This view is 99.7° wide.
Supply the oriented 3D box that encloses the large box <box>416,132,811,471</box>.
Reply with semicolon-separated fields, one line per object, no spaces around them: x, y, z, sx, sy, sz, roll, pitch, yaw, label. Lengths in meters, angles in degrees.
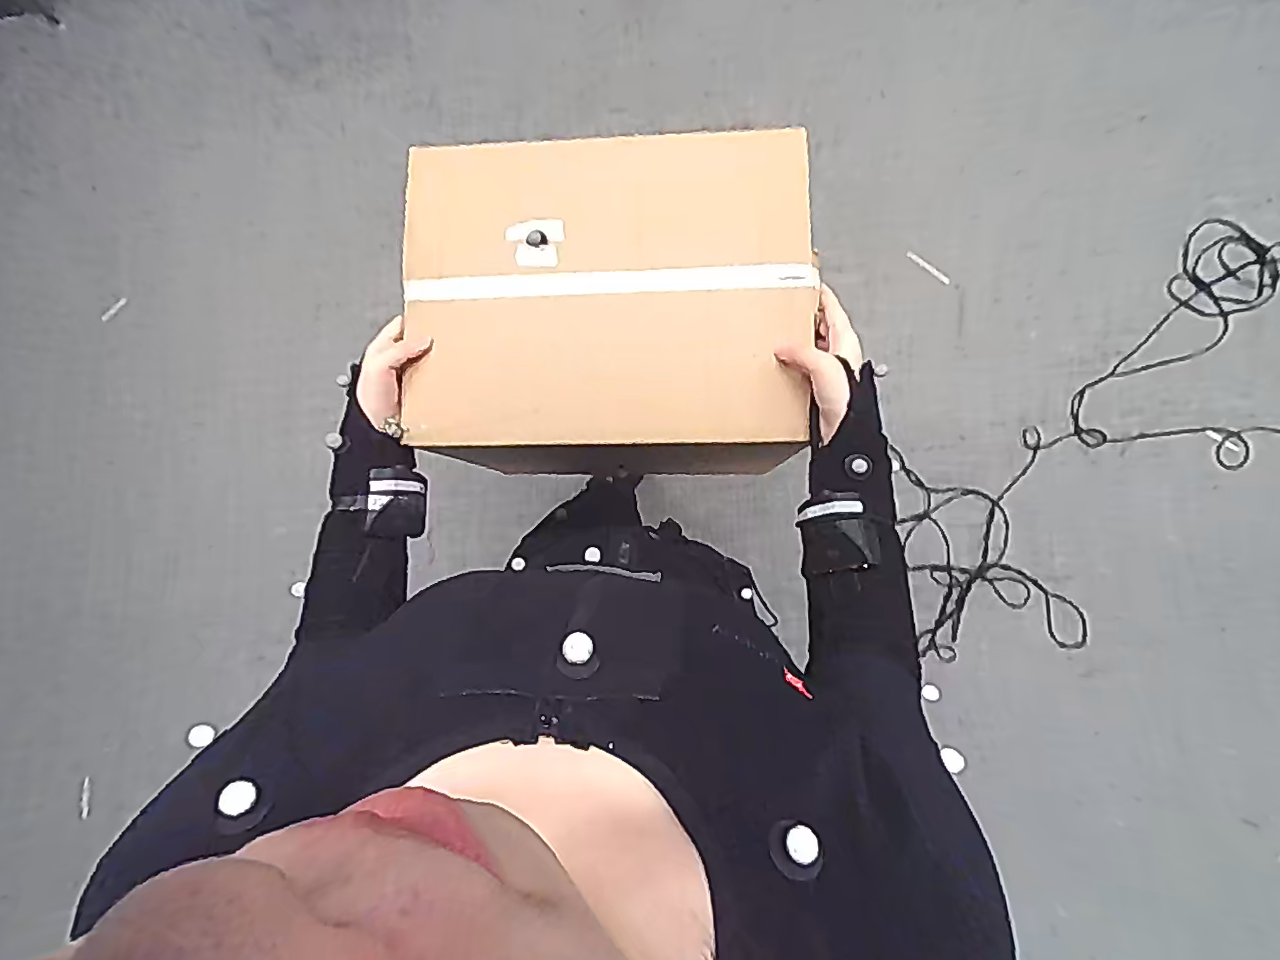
-0.020;-0.181;0.697;0.408;0.320;0.320;-1;84;5;large box
